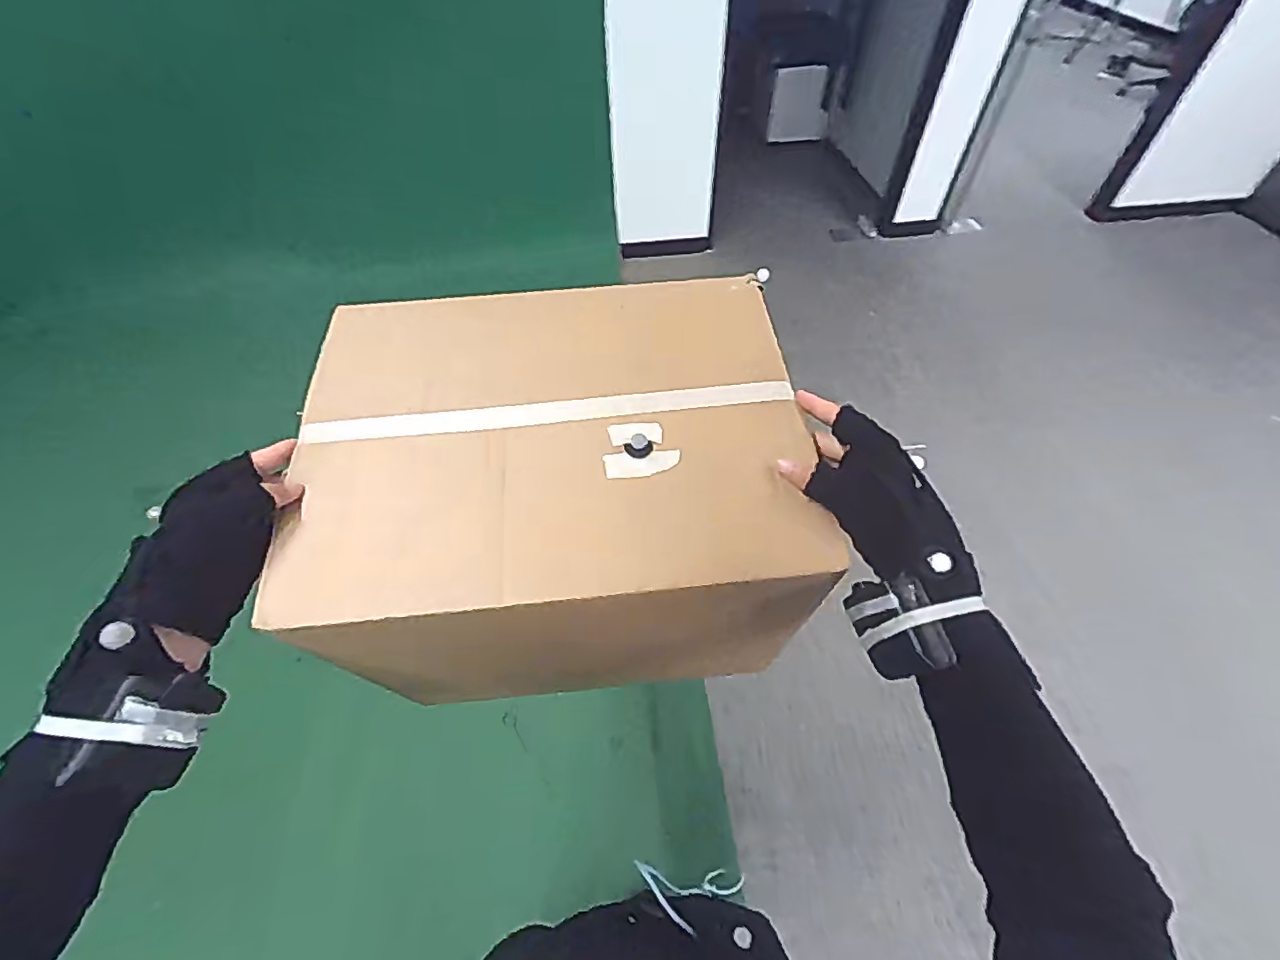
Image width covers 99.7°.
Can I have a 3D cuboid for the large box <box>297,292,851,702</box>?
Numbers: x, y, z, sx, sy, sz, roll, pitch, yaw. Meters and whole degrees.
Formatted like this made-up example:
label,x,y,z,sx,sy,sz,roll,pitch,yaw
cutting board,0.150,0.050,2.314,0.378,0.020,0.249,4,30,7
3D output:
label,x,y,z,sx,sy,sz,roll,pitch,yaw
large box,-0.058,0.032,0.585,0.408,0.320,0.320,-4,59,-3
